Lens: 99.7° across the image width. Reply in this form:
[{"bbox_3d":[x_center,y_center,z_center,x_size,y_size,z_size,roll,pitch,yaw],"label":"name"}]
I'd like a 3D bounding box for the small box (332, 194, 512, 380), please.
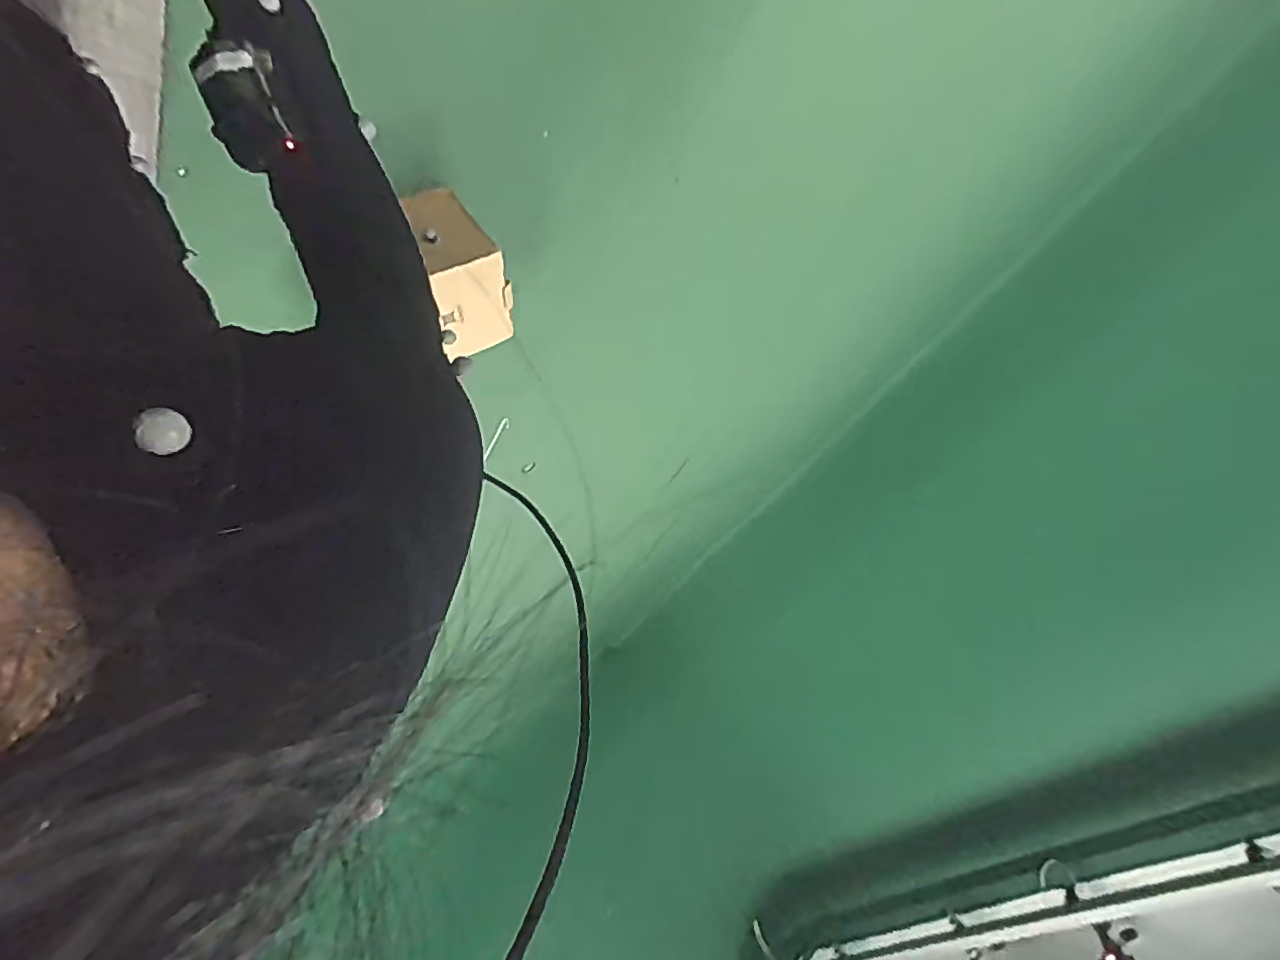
[{"bbox_3d":[-0.315,-0.289,0.802,0.179,0.176,0.168,-30,158,-21],"label":"small box"}]
